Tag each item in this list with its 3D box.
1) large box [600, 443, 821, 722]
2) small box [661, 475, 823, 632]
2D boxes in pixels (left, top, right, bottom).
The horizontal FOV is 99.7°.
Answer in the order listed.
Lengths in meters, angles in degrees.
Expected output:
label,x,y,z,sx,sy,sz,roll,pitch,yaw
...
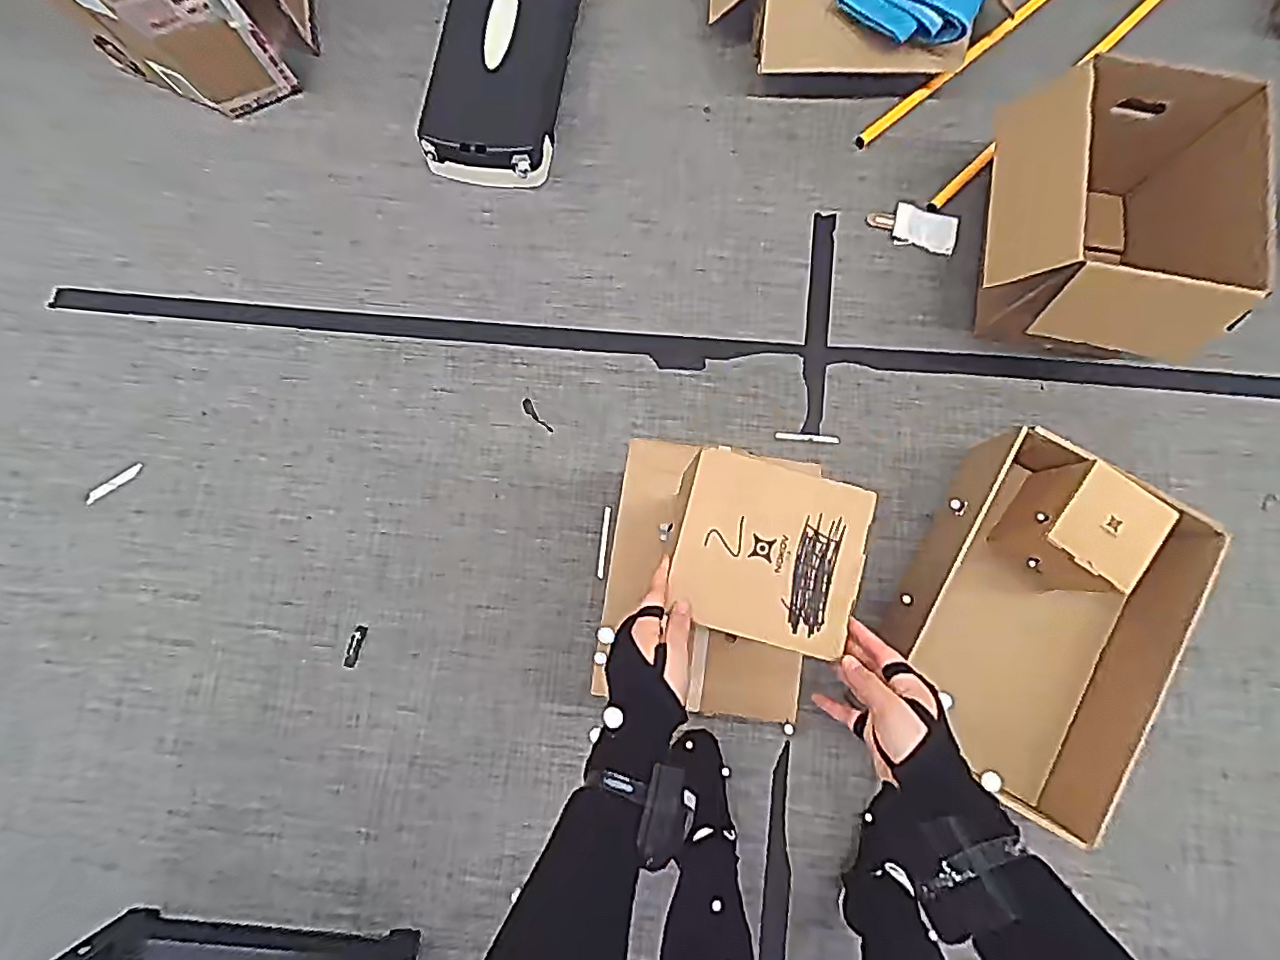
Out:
label,x,y,z,sx,sy,sz,roll,pitch,yaw
large box,0.115,0.168,0.985,0.320,0.320,0.408,7,83,3
small box,0.128,0.101,0.746,0.179,0.176,0.168,12,82,1
